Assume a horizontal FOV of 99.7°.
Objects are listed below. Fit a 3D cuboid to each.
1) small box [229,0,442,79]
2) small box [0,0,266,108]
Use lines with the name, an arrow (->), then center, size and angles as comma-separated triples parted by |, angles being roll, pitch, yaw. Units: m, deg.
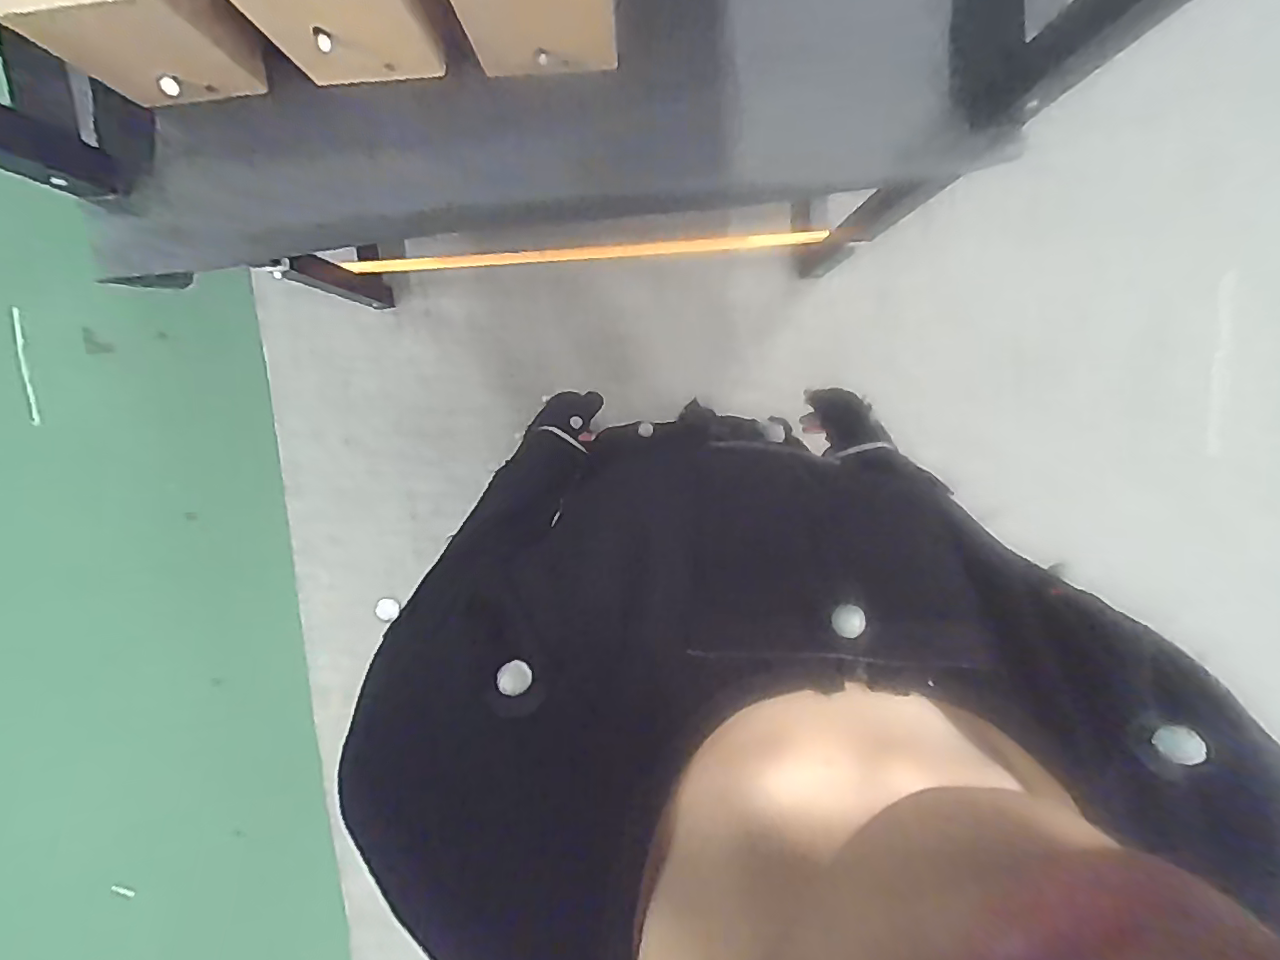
small box -> -0.330, -0.572, 0.589 | 0.168, 0.176, 0.179 | -3, 97, 1
small box -> -0.556, -0.553, 0.592 | 0.168, 0.176, 0.179 | -6, 98, 2
